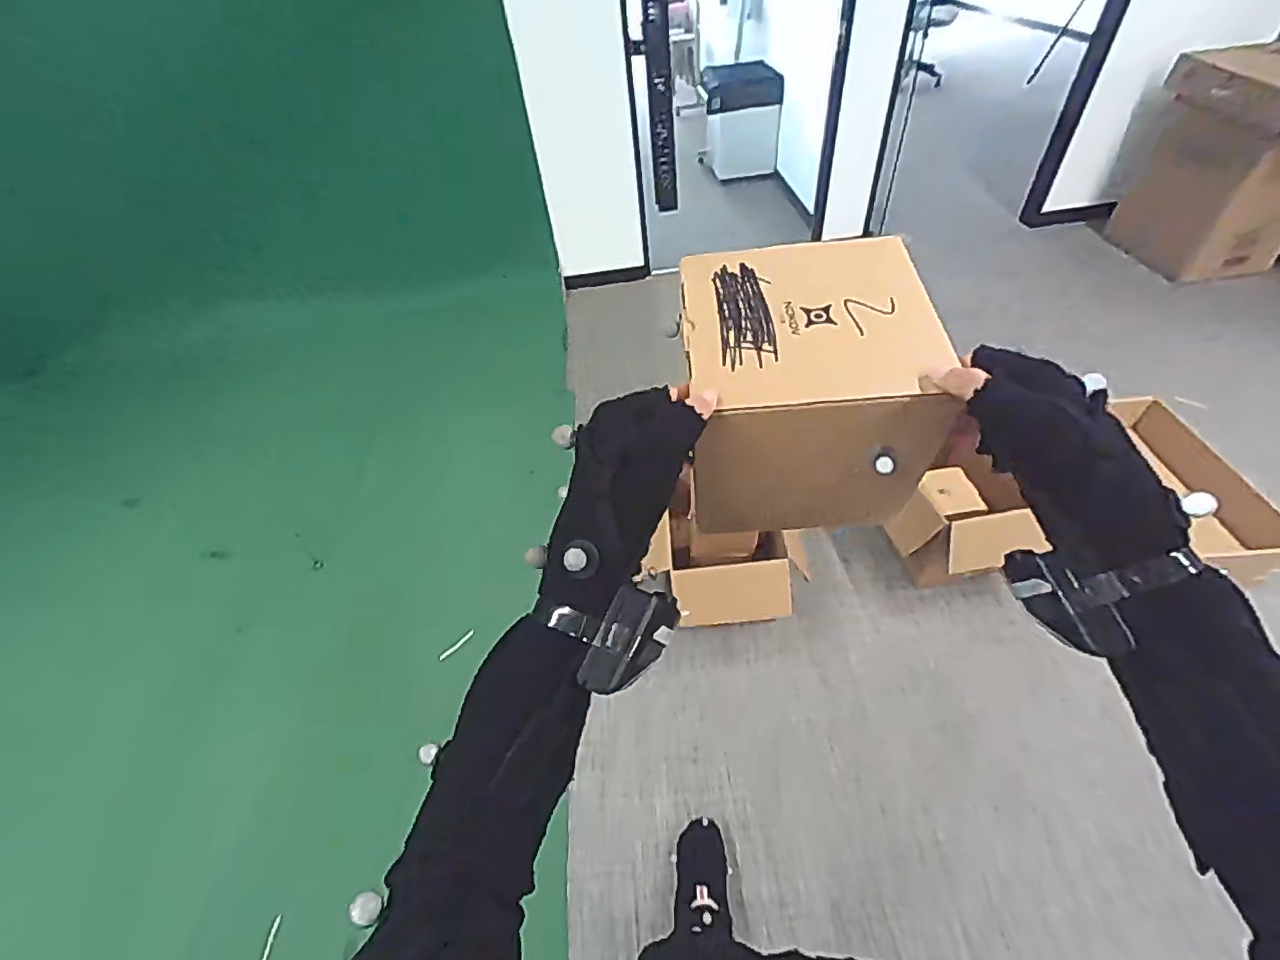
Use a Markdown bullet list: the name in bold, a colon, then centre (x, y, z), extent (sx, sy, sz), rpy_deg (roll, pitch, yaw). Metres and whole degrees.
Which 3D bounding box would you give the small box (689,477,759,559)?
- **small box**: centre (0.230, 0.108, 1.524), extent (0.179, 0.176, 0.168), rpy_deg (-3, 46, 3)
